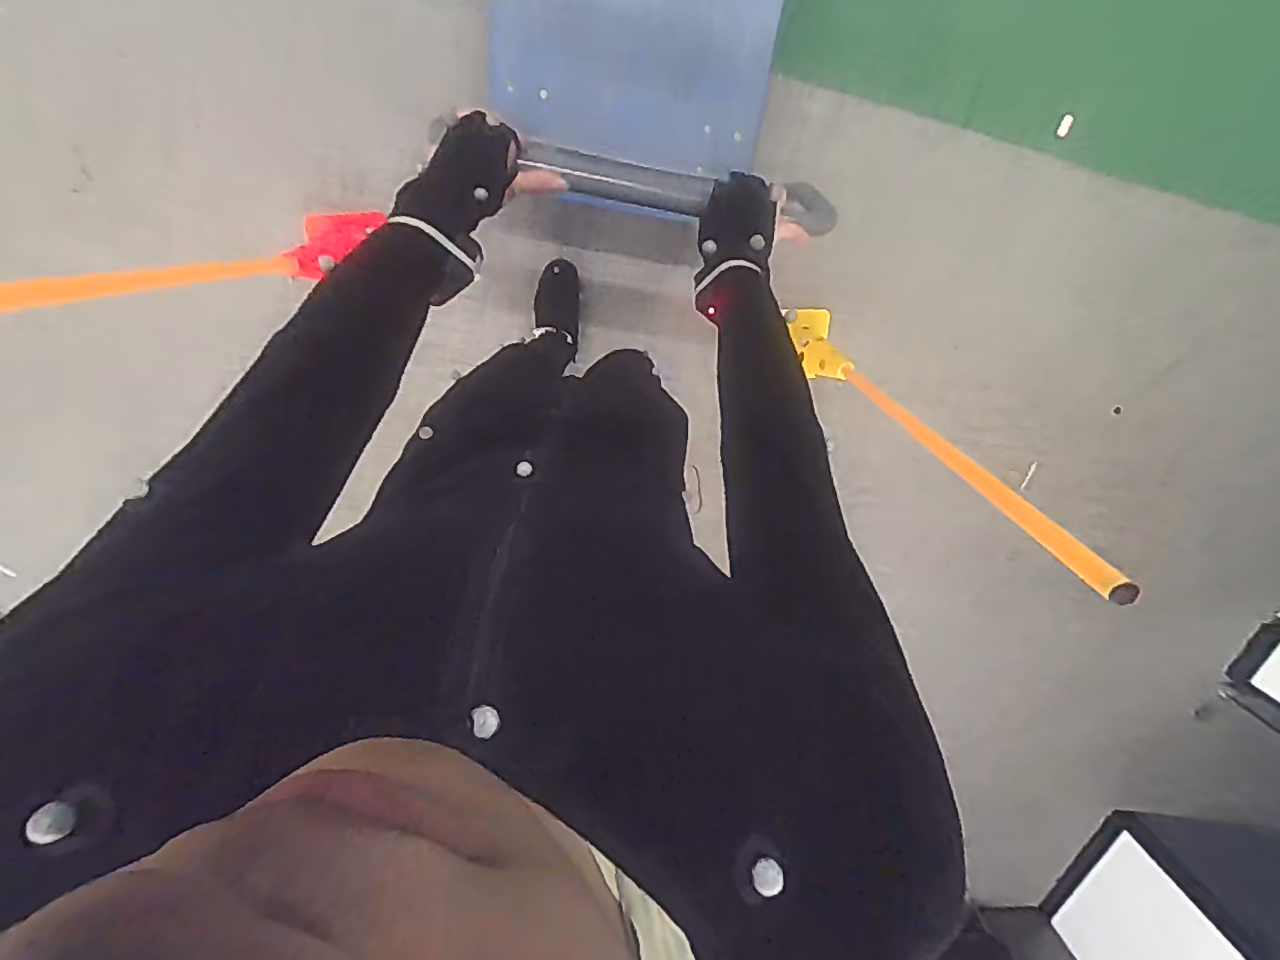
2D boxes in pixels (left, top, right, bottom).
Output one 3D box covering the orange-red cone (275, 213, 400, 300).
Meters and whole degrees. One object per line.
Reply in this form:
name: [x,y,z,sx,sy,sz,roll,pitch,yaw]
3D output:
orange-red cone: [-0.700,-0.488,1.197,0.199,0.360,0.198,-4,114,-3]
